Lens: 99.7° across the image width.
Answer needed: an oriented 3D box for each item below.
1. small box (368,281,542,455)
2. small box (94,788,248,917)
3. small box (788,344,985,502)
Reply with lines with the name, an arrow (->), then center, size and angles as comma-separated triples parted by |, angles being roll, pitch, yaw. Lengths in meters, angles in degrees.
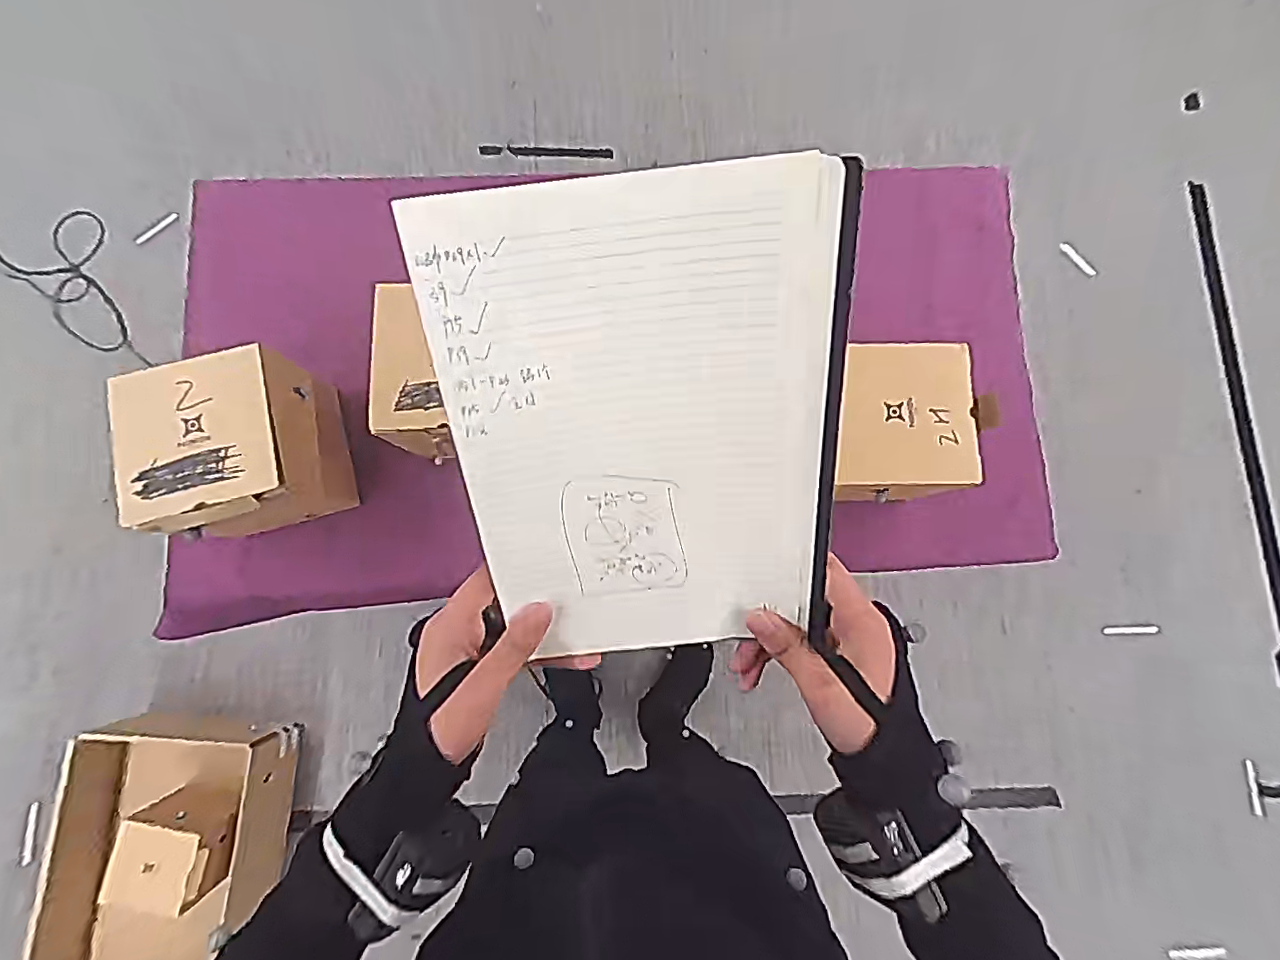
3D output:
small box -> -0.217, -0.128, 0.679 | 0.168, 0.176, 0.179 | -1, 81, -2
small box -> -1.030, 0.819, 1.206 | 0.179, 0.176, 0.168 | 13, 82, 0
small box -> 0.292, -0.061, 0.684 | 0.179, 0.176, 0.168 | 0, 82, -2
